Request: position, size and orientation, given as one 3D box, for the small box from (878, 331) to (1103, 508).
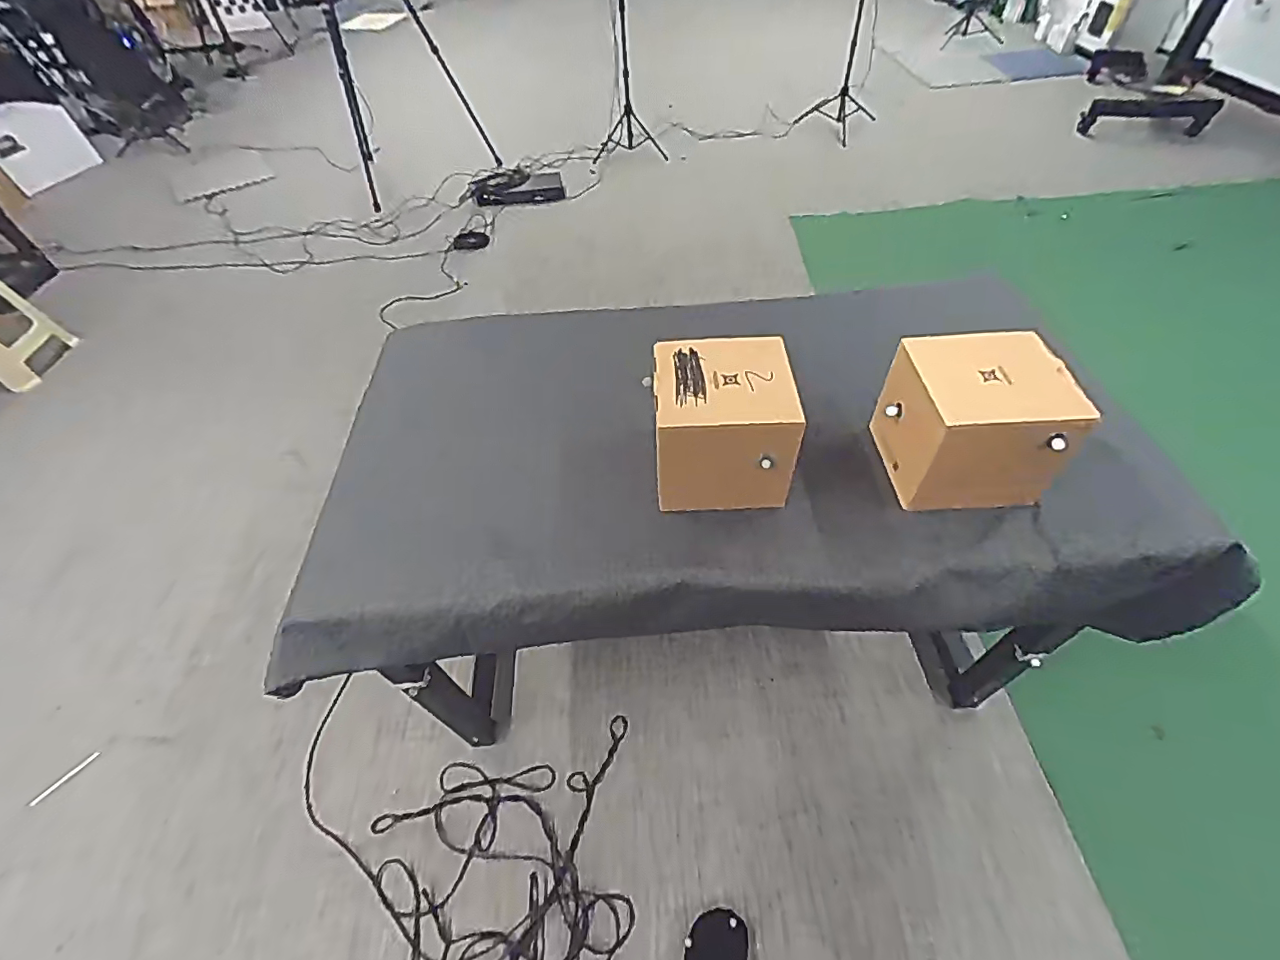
[{"bbox_3d":[0.435,-0.075,0.716,0.179,0.176,0.168,-3,51,2],"label":"small box"}]
